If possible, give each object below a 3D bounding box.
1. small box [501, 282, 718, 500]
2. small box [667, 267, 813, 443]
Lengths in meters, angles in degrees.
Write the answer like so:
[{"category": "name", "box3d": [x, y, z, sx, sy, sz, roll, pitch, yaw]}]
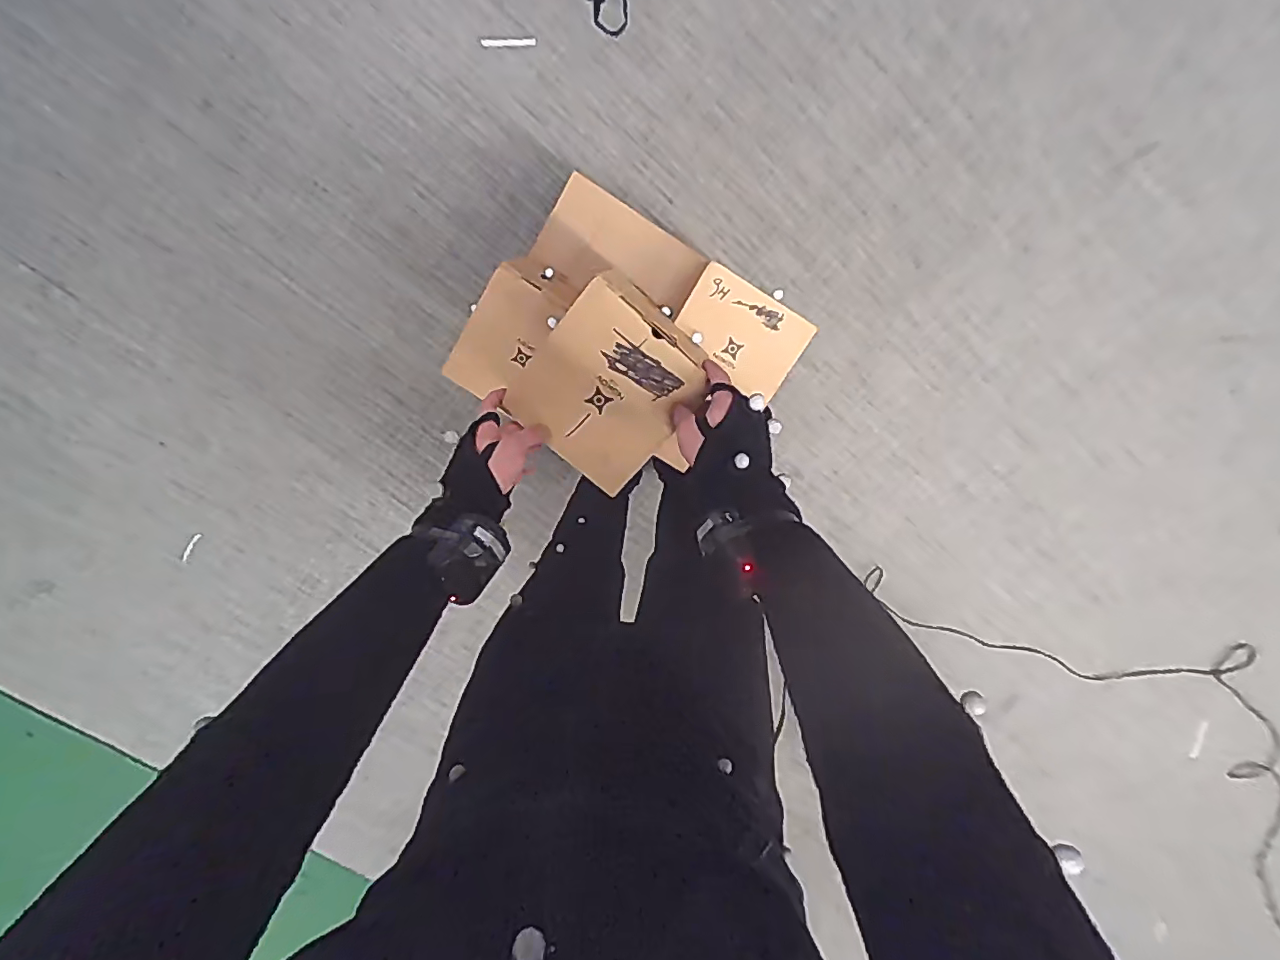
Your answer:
[{"category": "small box", "box3d": [-0.031, -0.115, 0.642, 0.168, 0.176, 0.179, 39, 110, -11]}, {"category": "small box", "box3d": [0.117, -0.186, 0.785, 0.168, 0.176, 0.179, 29, 109, -9]}]
